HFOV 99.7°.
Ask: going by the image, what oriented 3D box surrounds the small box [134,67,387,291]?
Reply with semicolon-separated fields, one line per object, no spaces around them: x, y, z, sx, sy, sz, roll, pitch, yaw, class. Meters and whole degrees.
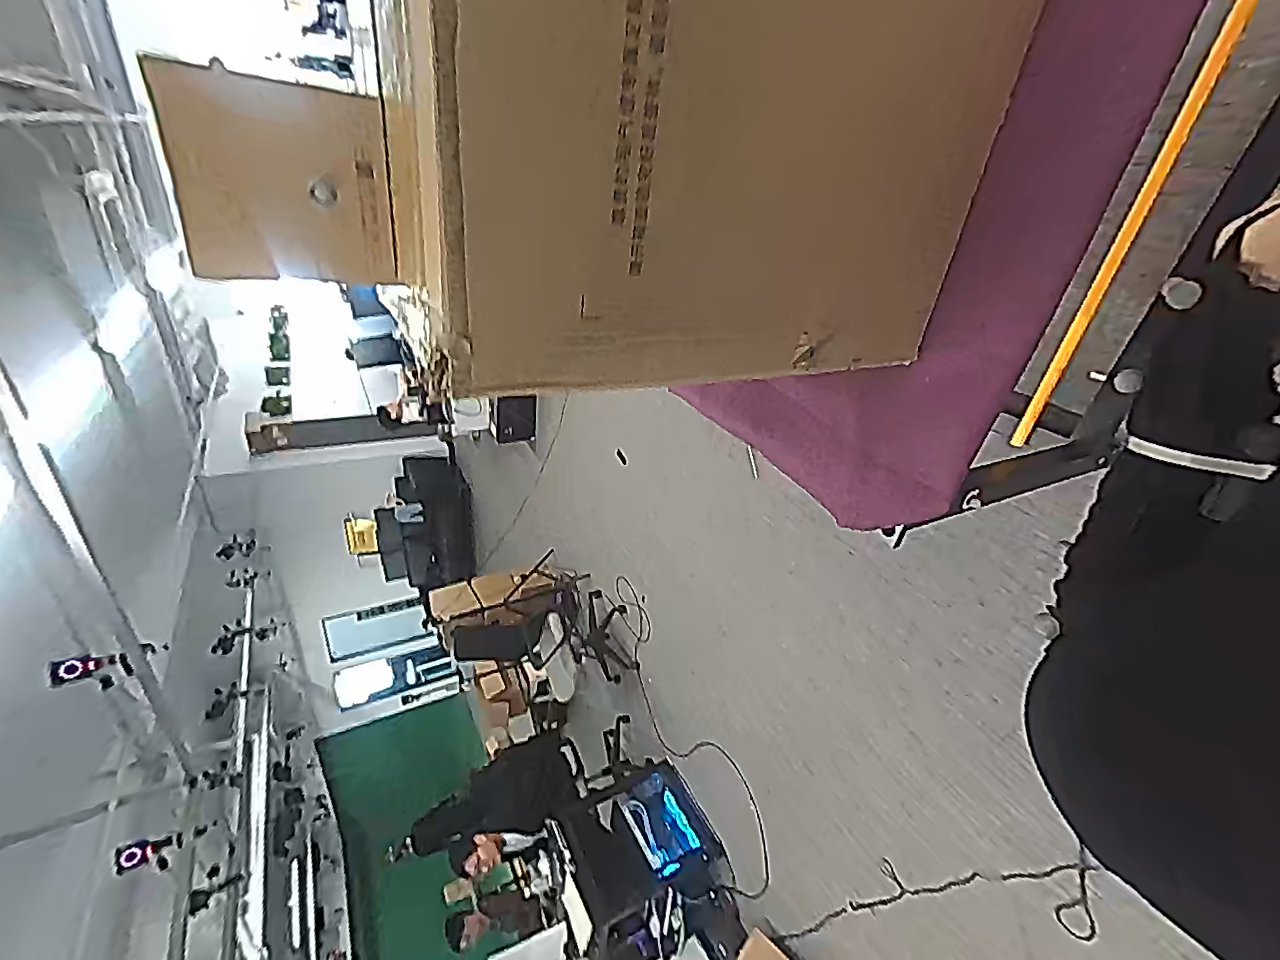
-0.359;-0.291;0.544;0.179;0.176;0.168;44;135;48;small box
